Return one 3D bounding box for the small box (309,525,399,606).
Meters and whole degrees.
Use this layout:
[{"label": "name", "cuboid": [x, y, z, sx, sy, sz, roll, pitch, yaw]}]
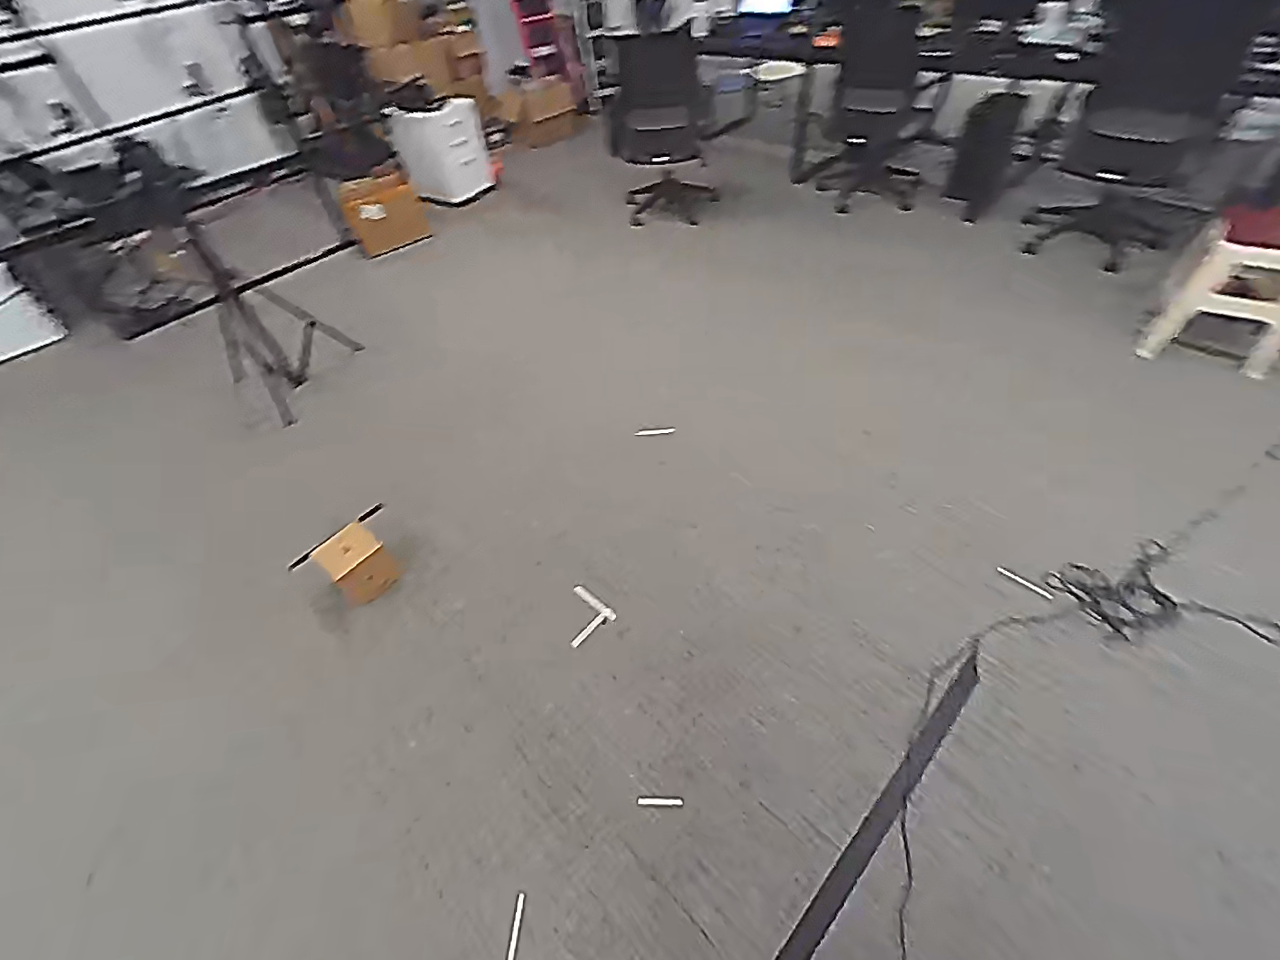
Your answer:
[{"label": "small box", "cuboid": [-0.932, 0.286, 1.775, 0.179, 0.176, 0.168, 28, 57, 30]}]
